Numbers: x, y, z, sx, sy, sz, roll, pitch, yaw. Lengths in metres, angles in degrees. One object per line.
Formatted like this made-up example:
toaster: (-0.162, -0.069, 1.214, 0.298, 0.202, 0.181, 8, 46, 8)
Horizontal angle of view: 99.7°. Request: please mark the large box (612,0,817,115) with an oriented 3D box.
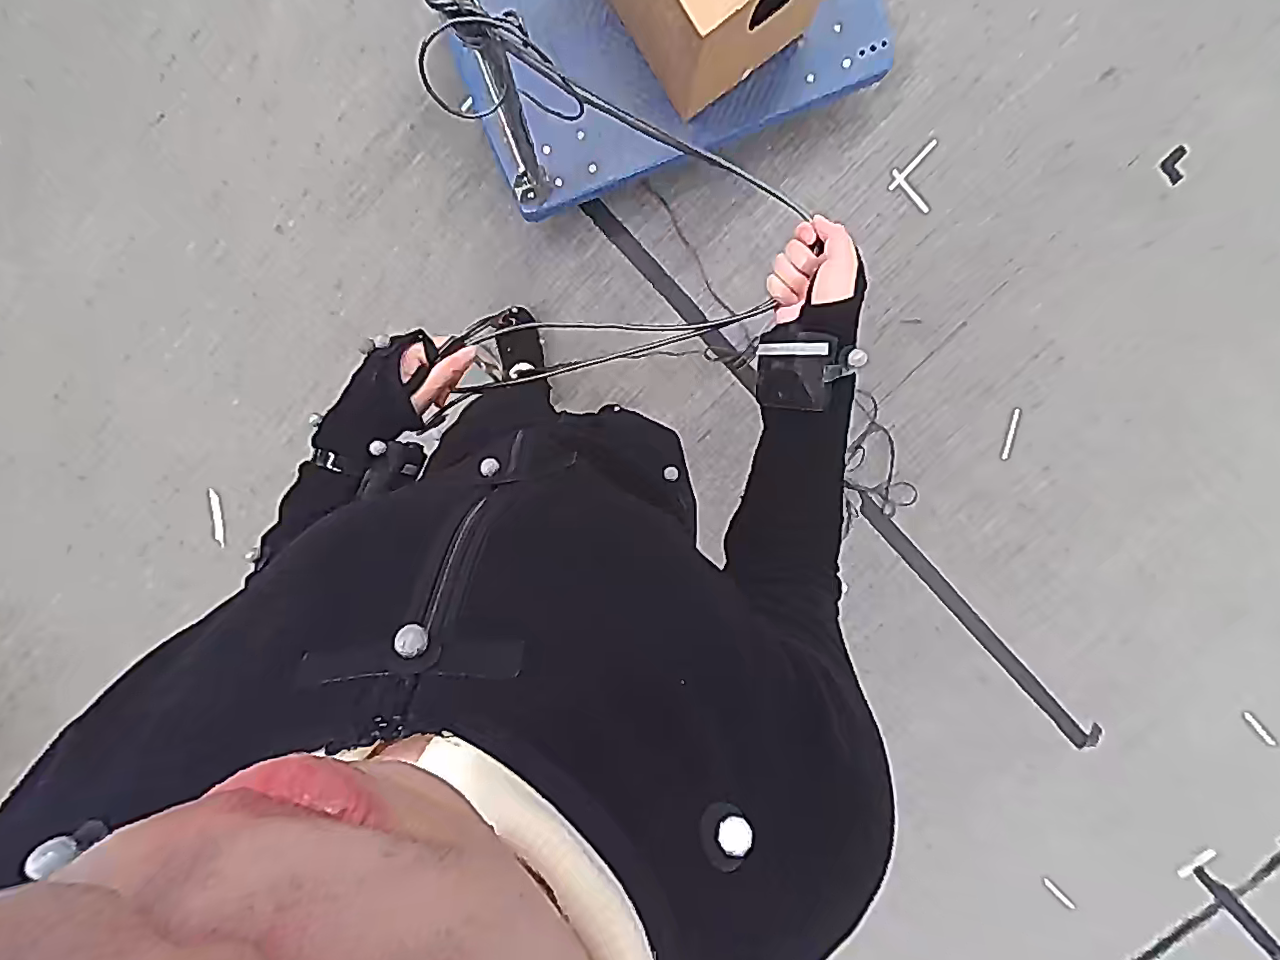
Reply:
large box: (0.108, -0.981, 0.956, 0.320, 0.320, 0.408, -35, 101, 7)
